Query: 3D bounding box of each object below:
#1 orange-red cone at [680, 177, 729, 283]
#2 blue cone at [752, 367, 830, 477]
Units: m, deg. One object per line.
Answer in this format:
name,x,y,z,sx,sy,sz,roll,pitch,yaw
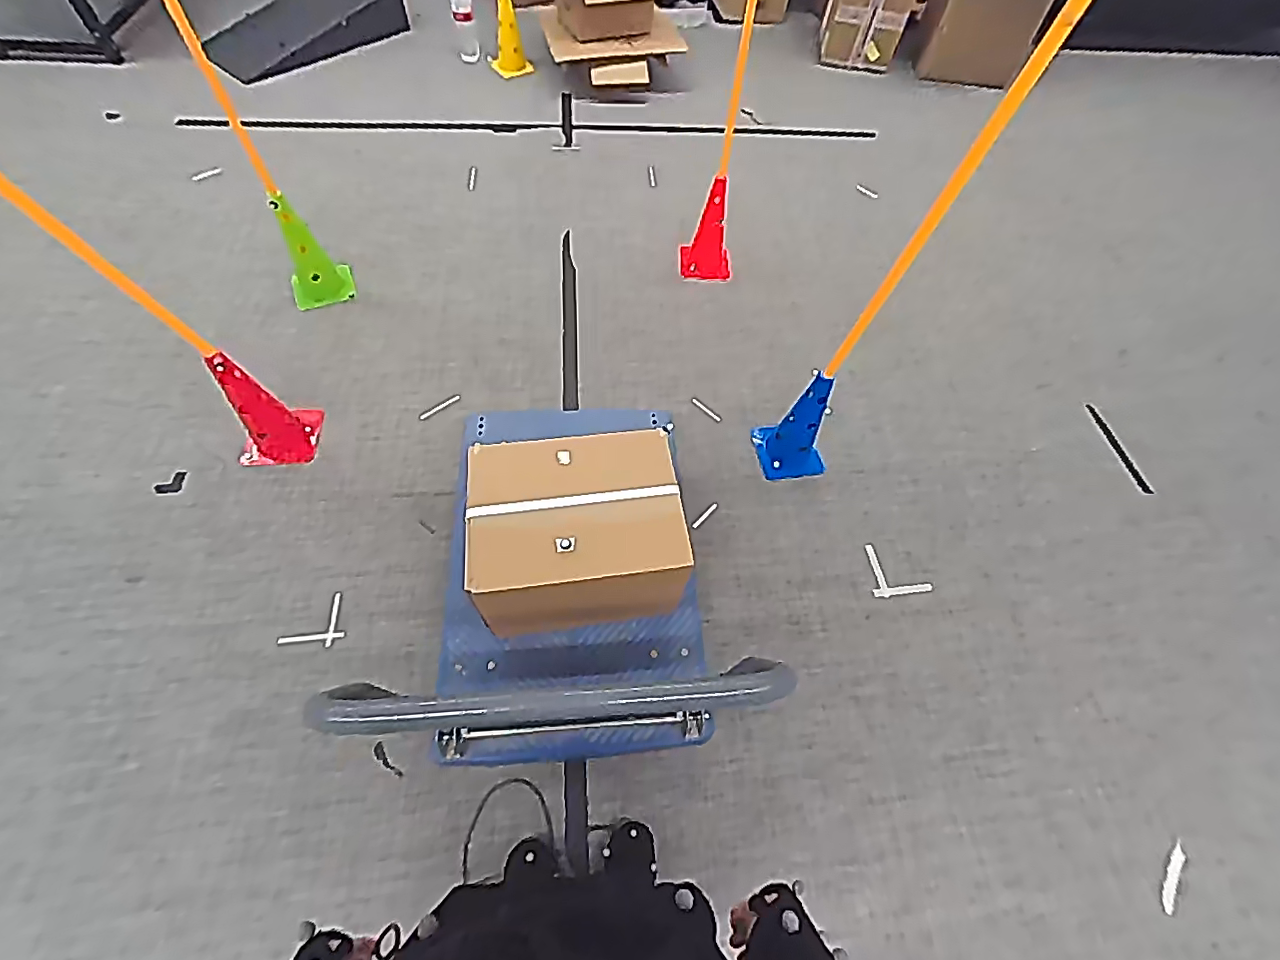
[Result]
orange-red cone,0.274,-0.954,2.031,0.199,0.360,0.198,4,59,-3
blue cone,0.481,-0.181,1.596,0.193,0.380,0.192,-6,58,-8
